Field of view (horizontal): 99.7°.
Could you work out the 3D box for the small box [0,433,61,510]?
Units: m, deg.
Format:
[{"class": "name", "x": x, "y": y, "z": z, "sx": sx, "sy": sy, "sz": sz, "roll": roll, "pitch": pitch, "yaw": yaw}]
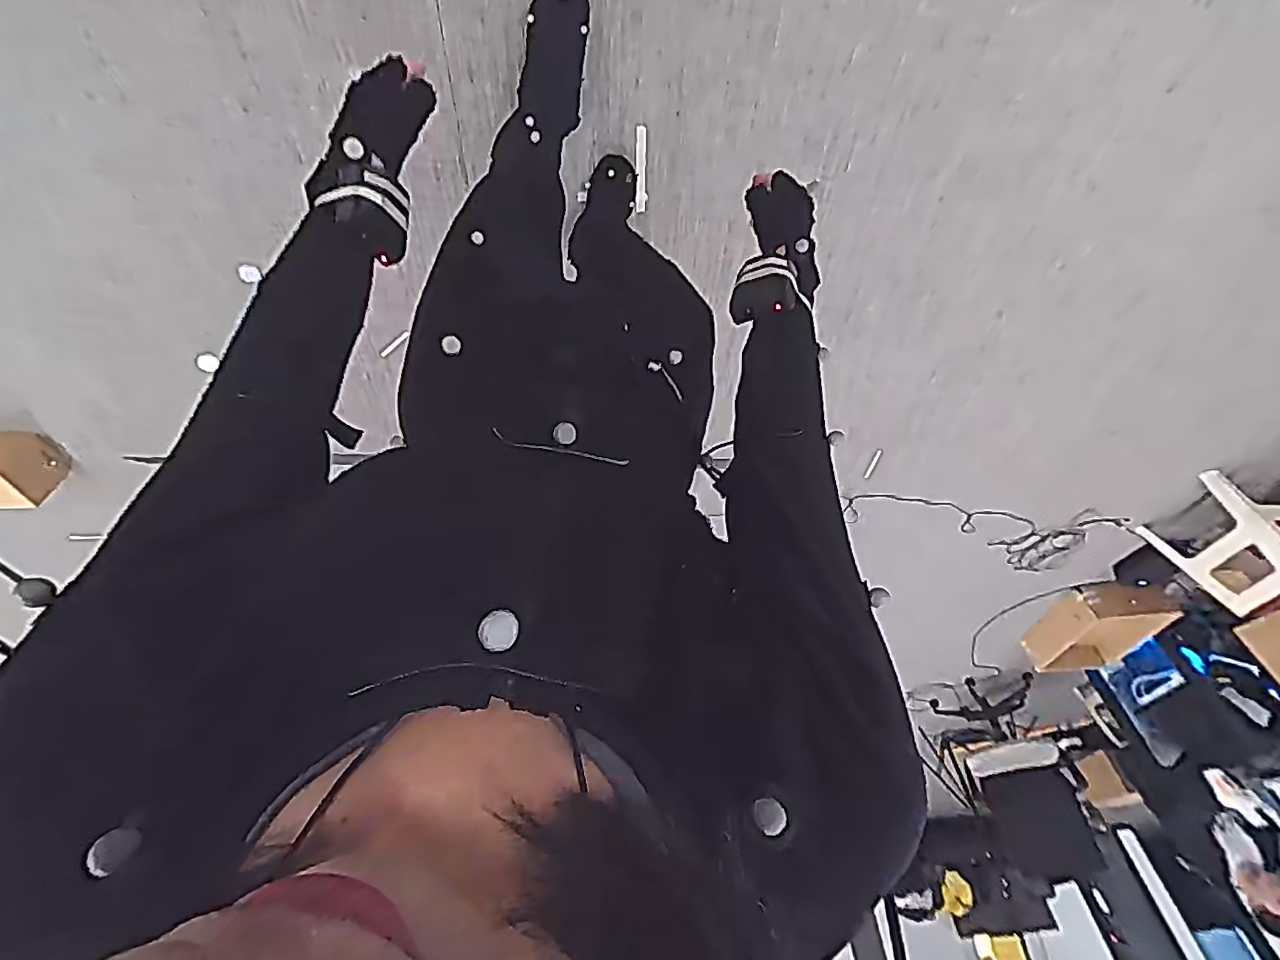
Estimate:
[{"class": "small box", "x": -1.918, "y": -0.027, "z": 1.609, "sx": 0.179, "sy": 0.176, "sz": 0.168, "roll": -1, "pitch": 137, "yaw": -5}]
